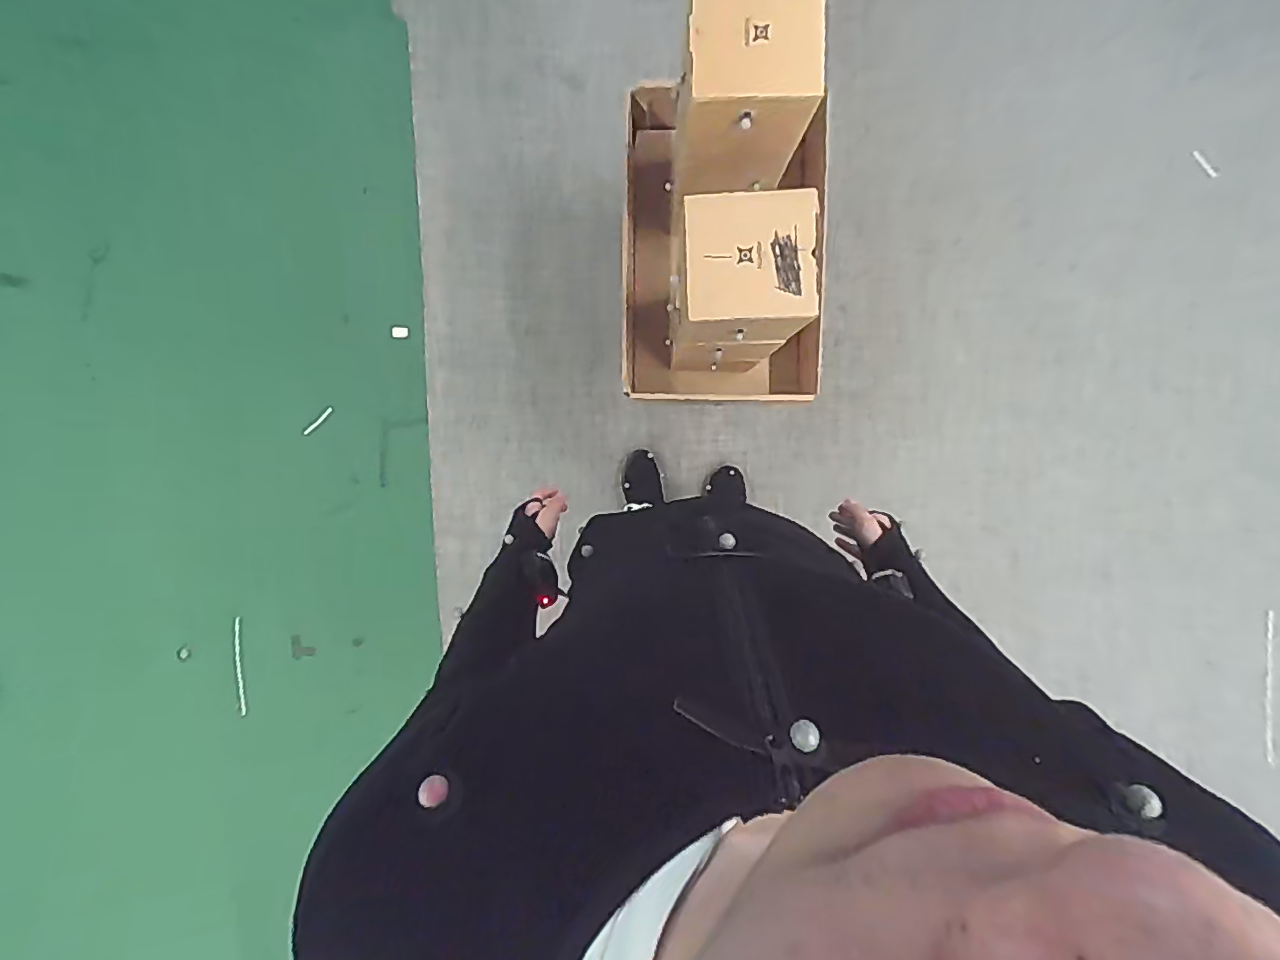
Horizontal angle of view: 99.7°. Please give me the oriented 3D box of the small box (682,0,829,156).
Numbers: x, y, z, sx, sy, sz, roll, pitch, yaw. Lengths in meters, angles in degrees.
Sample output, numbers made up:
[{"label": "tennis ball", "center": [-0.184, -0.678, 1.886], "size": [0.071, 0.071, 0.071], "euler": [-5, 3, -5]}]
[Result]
[{"label": "small box", "center": [0.154, -0.586, 0.768], "size": [0.179, 0.176, 0.168], "euler": [0, 95, 1]}]

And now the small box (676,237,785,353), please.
[{"label": "small box", "center": [0.152, -0.318, 0.951], "size": [0.179, 0.176, 0.168], "euler": [0, 95, 2]}]

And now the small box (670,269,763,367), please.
[{"label": "small box", "center": [0.154, -0.329, 1.114], "size": [0.179, 0.176, 0.168], "euler": [2, 94, 0]}]

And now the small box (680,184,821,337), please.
[{"label": "small box", "center": [0.151, -0.307, 0.786], "size": [0.179, 0.176, 0.168], "euler": [-2, 94, 2]}]
